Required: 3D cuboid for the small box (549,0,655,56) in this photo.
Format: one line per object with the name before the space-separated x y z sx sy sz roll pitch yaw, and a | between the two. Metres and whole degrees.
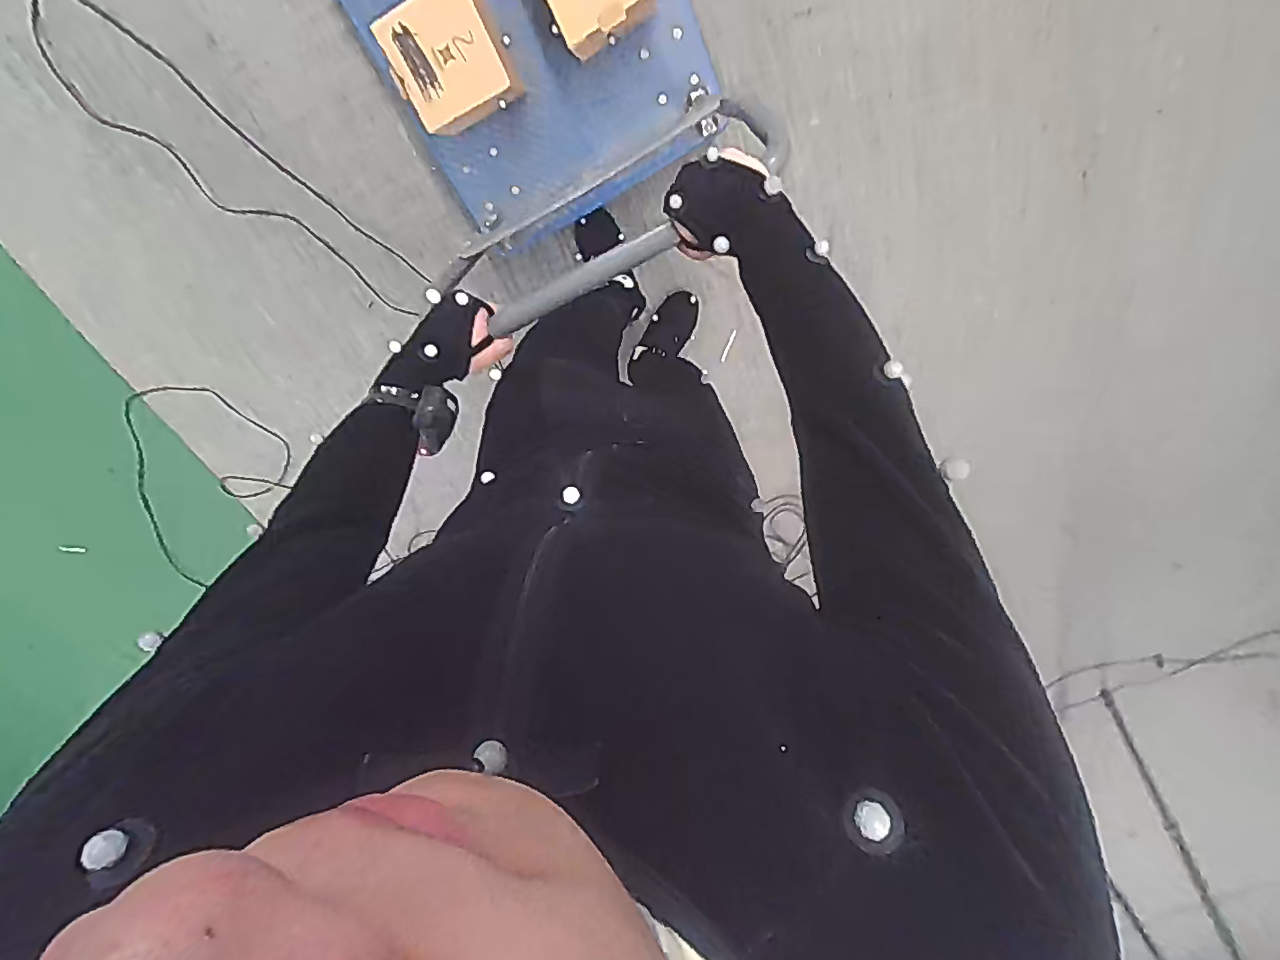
small box | -0.083 -0.854 0.902 0.168 0.176 0.179 -24 121 15
